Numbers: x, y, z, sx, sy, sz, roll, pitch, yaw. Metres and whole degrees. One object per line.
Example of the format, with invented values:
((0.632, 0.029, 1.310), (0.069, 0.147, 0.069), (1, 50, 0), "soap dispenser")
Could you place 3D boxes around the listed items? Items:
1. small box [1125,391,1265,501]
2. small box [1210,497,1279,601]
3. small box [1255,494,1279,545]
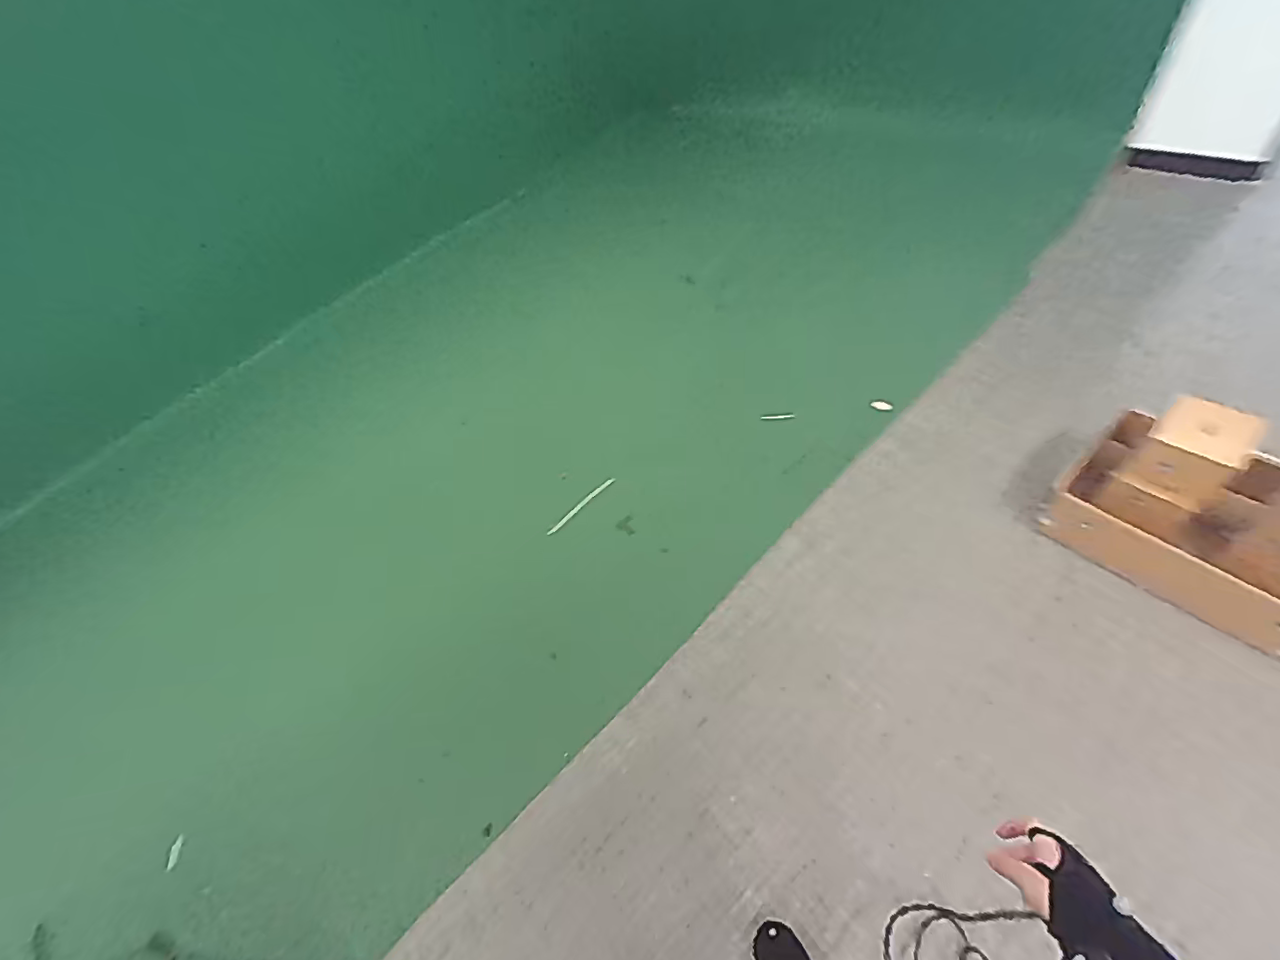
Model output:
((1.351, -0.079, 1.332), (0.168, 0.176, 0.179), (34, 69, 33), "small box")
((1.554, 0.169, 1.295), (0.168, 0.176, 0.179), (-38, 52, -13), "small box")
((1.515, 0.070, 1.172), (0.179, 0.176, 0.168), (-38, 54, -13), "small box")
